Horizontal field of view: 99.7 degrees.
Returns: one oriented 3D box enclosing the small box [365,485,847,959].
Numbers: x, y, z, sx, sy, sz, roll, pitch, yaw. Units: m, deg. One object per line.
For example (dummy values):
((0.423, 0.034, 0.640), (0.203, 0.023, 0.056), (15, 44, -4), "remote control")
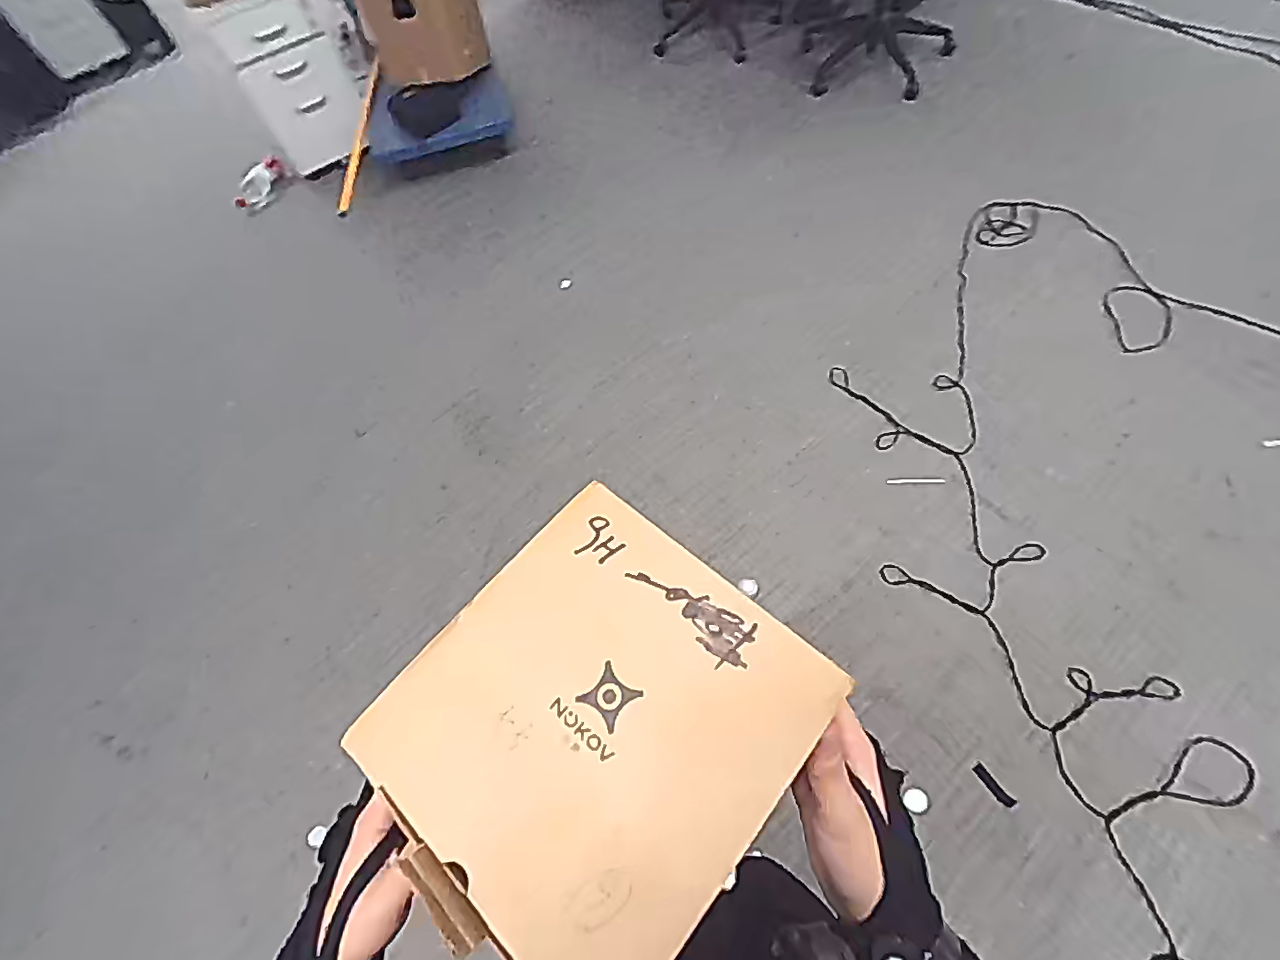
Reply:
((-0.011, 0.142, 0.326), (0.168, 0.176, 0.179), (37, 73, 20), "small box")
